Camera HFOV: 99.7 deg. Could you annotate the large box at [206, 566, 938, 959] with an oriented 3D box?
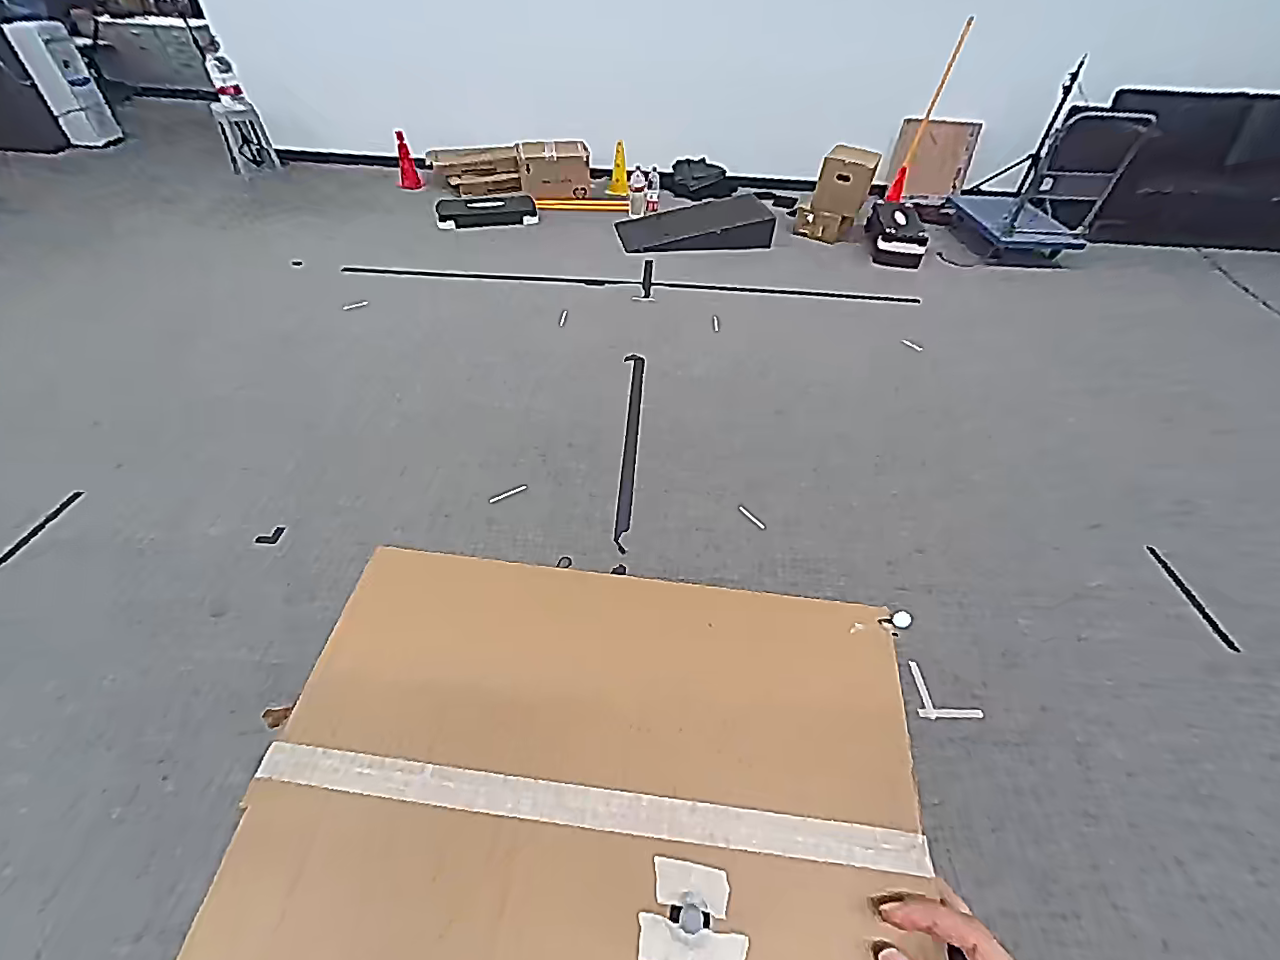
[{"bbox_3d":[-0.031,0.298,0.453,0.408,0.320,0.320,6,54,3],"label":"large box"}]
